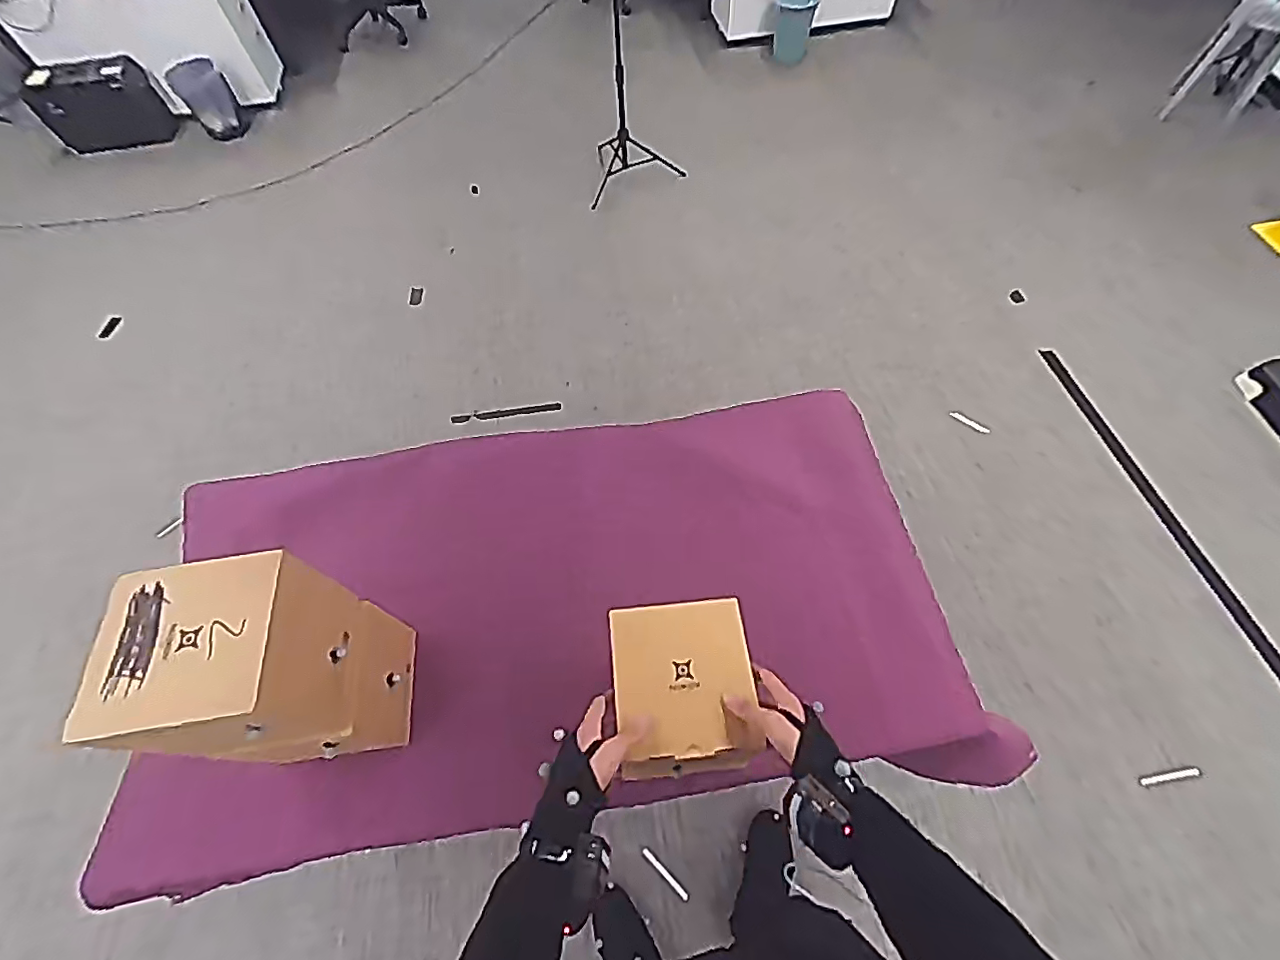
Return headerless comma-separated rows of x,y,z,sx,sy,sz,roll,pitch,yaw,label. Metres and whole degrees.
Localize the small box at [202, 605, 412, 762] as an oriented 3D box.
-0.432,0.282,0.739,0.179,0.176,0.168,-8,60,-2,small box
